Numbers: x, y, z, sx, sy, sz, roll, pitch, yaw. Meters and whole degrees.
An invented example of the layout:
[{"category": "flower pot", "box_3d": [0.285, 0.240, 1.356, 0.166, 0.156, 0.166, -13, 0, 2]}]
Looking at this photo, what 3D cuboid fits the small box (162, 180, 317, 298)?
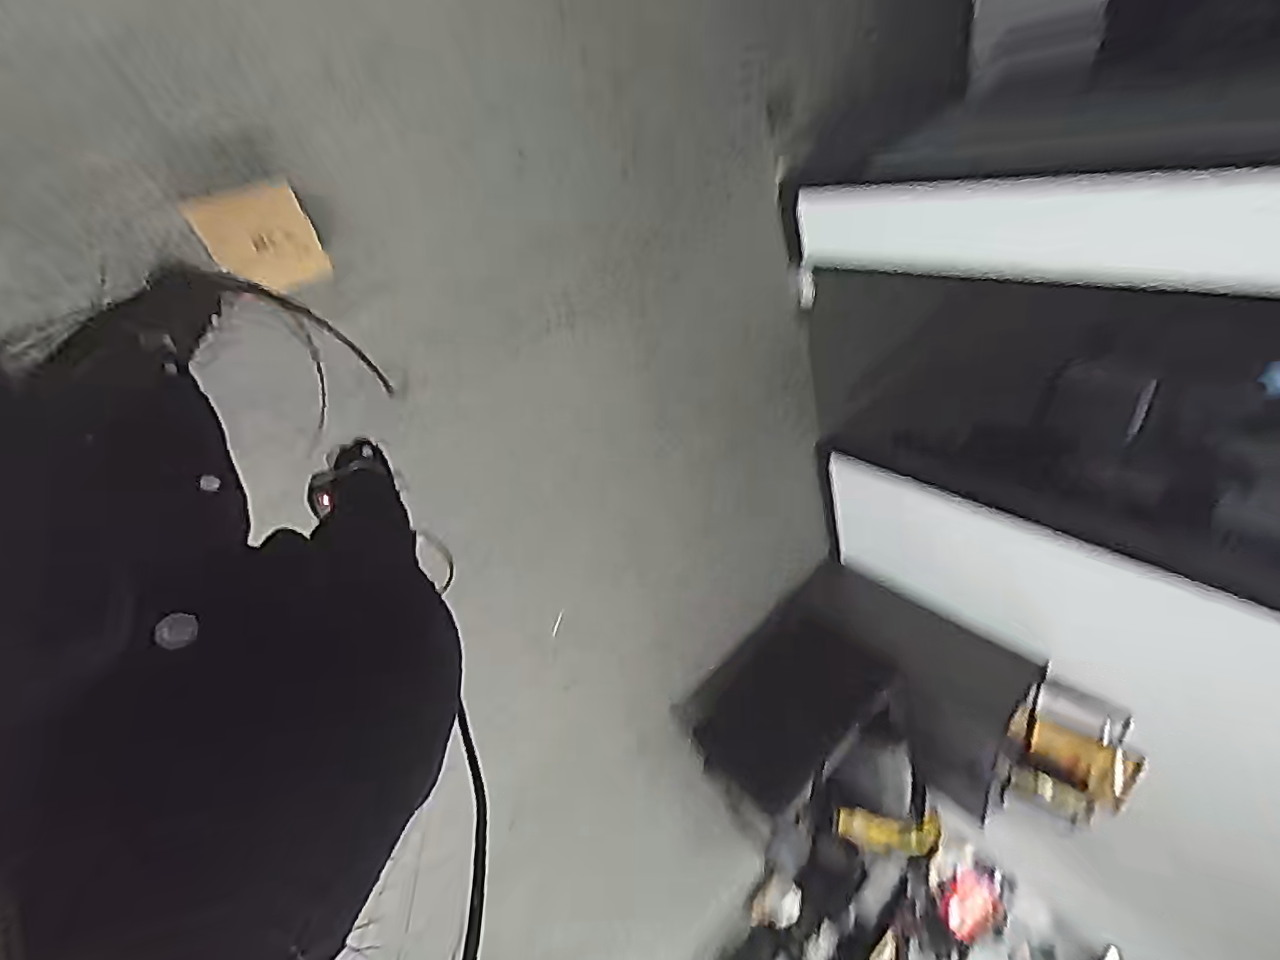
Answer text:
[{"category": "small box", "box_3d": [-0.759, -0.461, 1.033, 0.179, 0.176, 0.168, -32, 129, -26]}]
